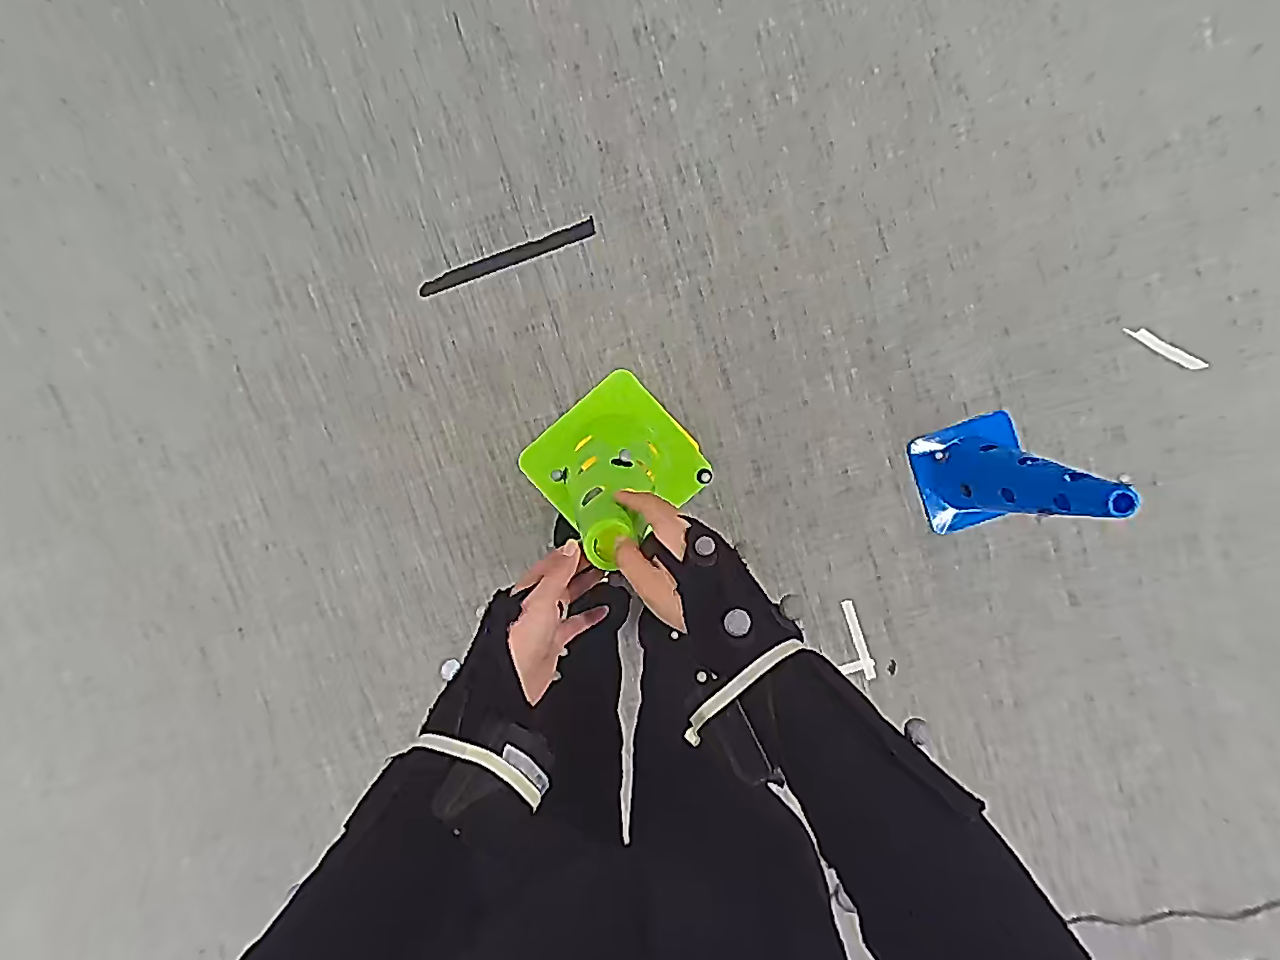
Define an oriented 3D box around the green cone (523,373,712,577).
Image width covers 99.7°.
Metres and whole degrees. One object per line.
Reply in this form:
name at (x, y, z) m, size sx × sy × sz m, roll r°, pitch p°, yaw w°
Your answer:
green cone at (-0.028, 0.015, 0.567) m, size 0.202 × 0.368 × 0.200 m, roll -41°, pitch 98°, yaw 7°
